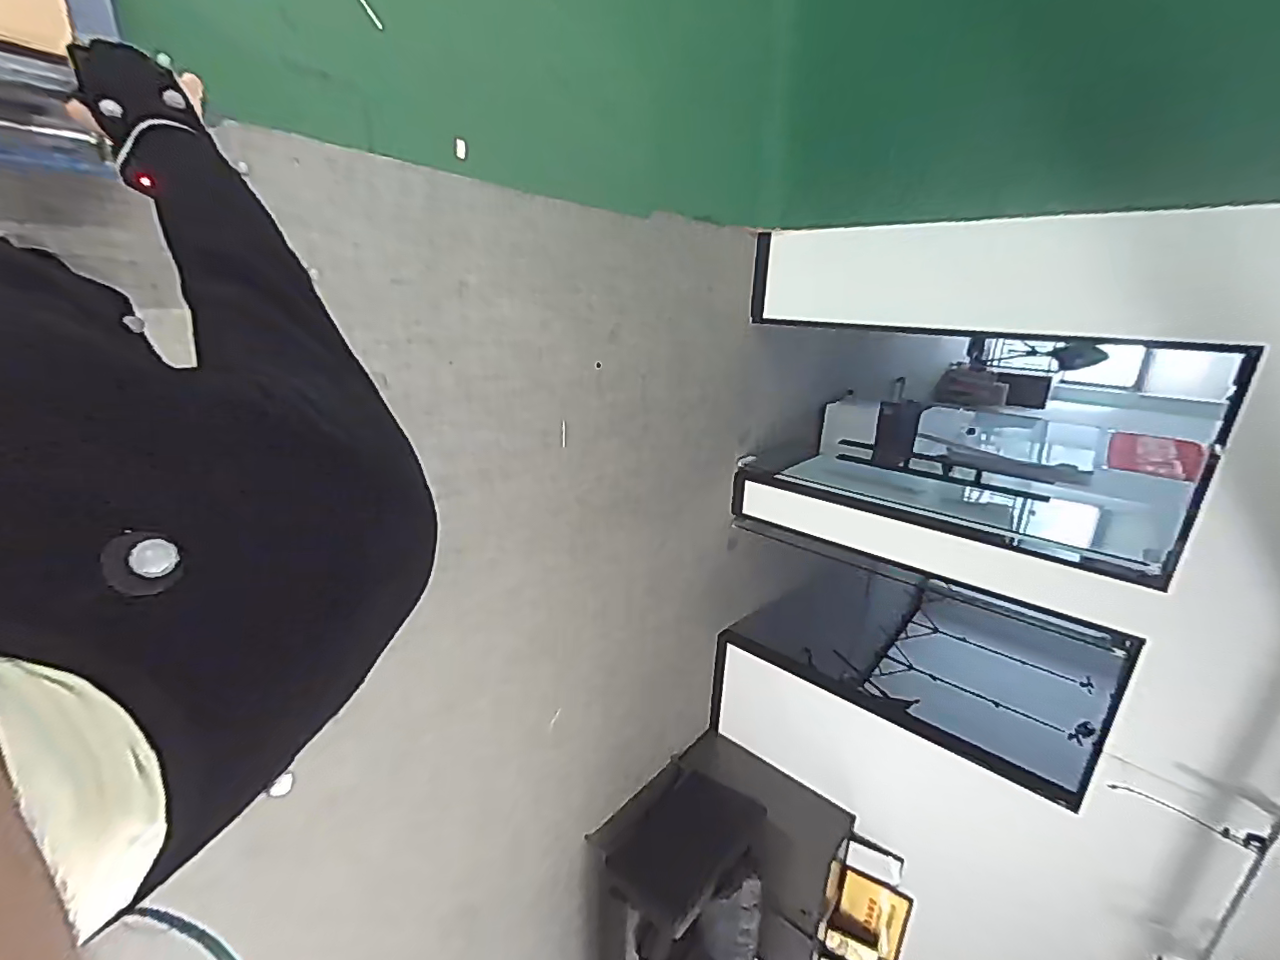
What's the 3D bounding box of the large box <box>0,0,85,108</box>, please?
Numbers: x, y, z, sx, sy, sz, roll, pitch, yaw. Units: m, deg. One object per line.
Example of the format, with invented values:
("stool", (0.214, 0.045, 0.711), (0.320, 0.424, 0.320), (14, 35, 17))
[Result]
("large box", (-0.973, -0.755, 0.667), (0.320, 0.320, 0.408), (-19, 116, -47))
